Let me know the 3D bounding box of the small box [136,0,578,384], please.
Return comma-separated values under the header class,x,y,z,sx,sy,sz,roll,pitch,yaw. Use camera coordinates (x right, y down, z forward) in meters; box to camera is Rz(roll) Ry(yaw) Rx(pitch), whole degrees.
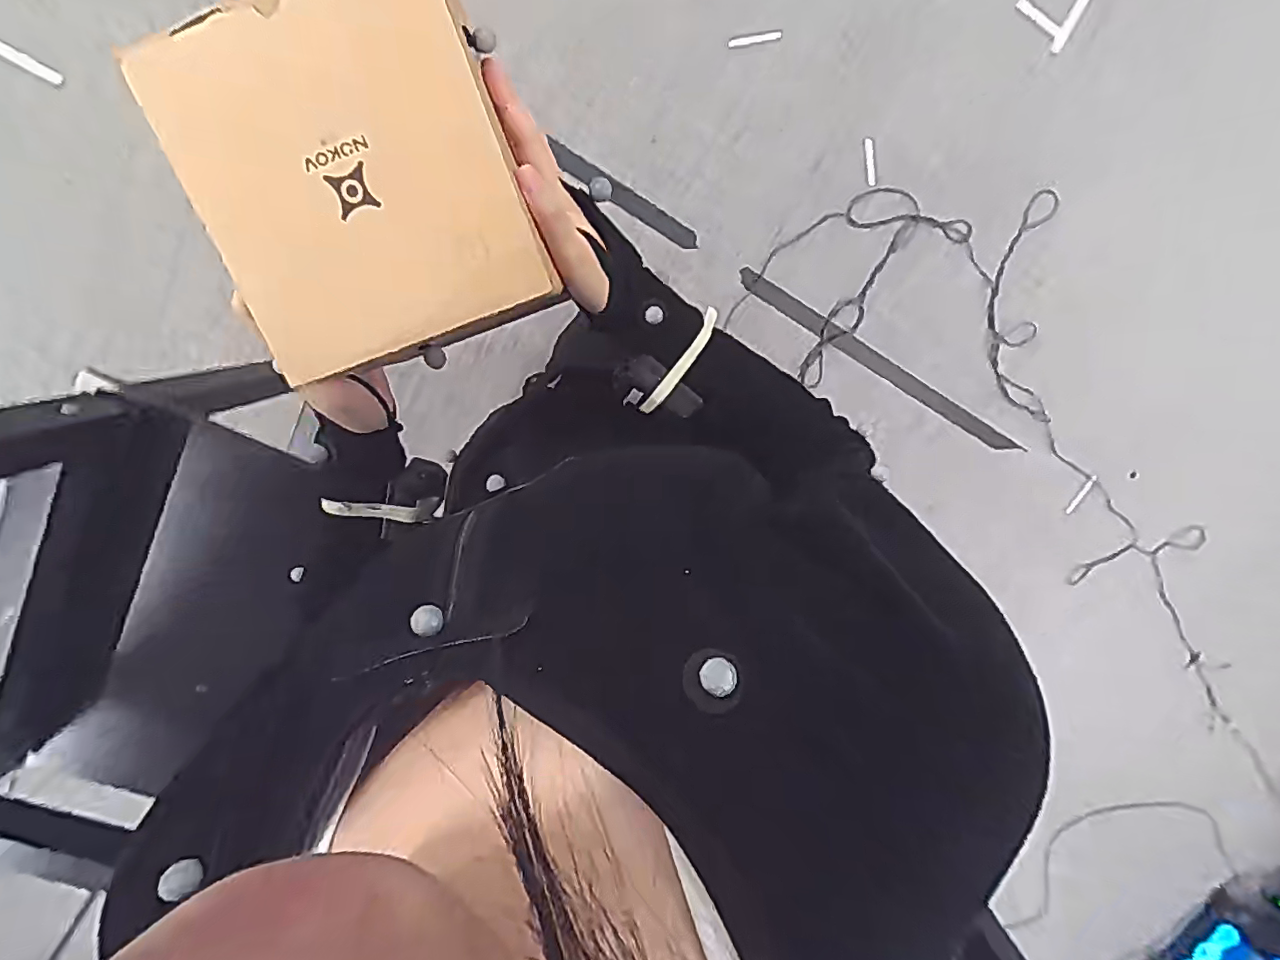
class,x,y,z,sx,sy,sz,roll,pitch,yaw
small box,-0.148,-0.182,0.361,0.168,0.176,0.179,-18,107,3
